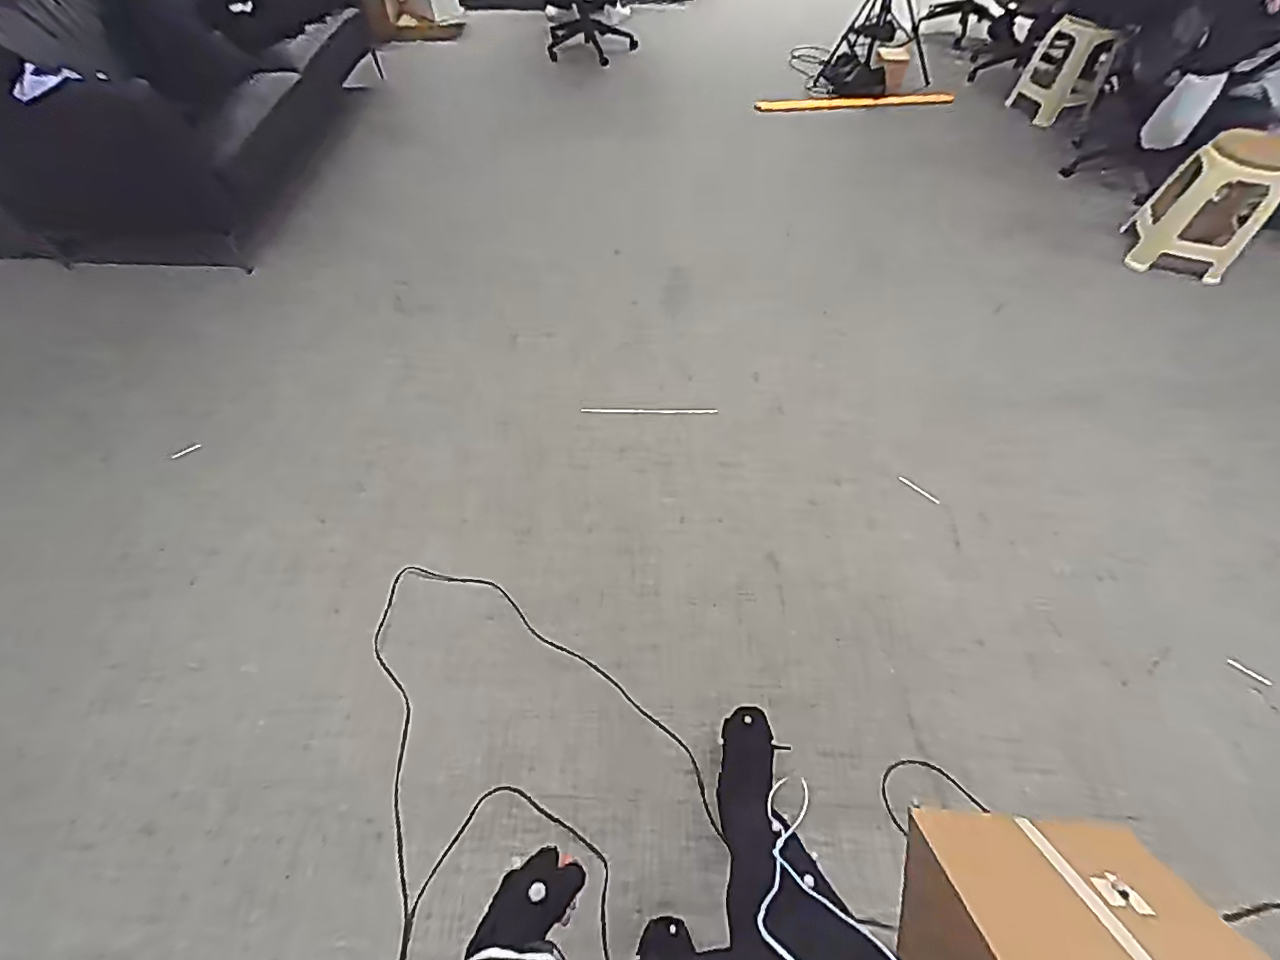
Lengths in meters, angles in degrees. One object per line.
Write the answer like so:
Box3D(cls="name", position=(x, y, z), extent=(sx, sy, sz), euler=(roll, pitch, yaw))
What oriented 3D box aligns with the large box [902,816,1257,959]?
Box3D(cls="large box", position=(0.541, 0.685, 0.629), extent=(0.320, 0.408, 0.320), euler=(4, 94, 6))
